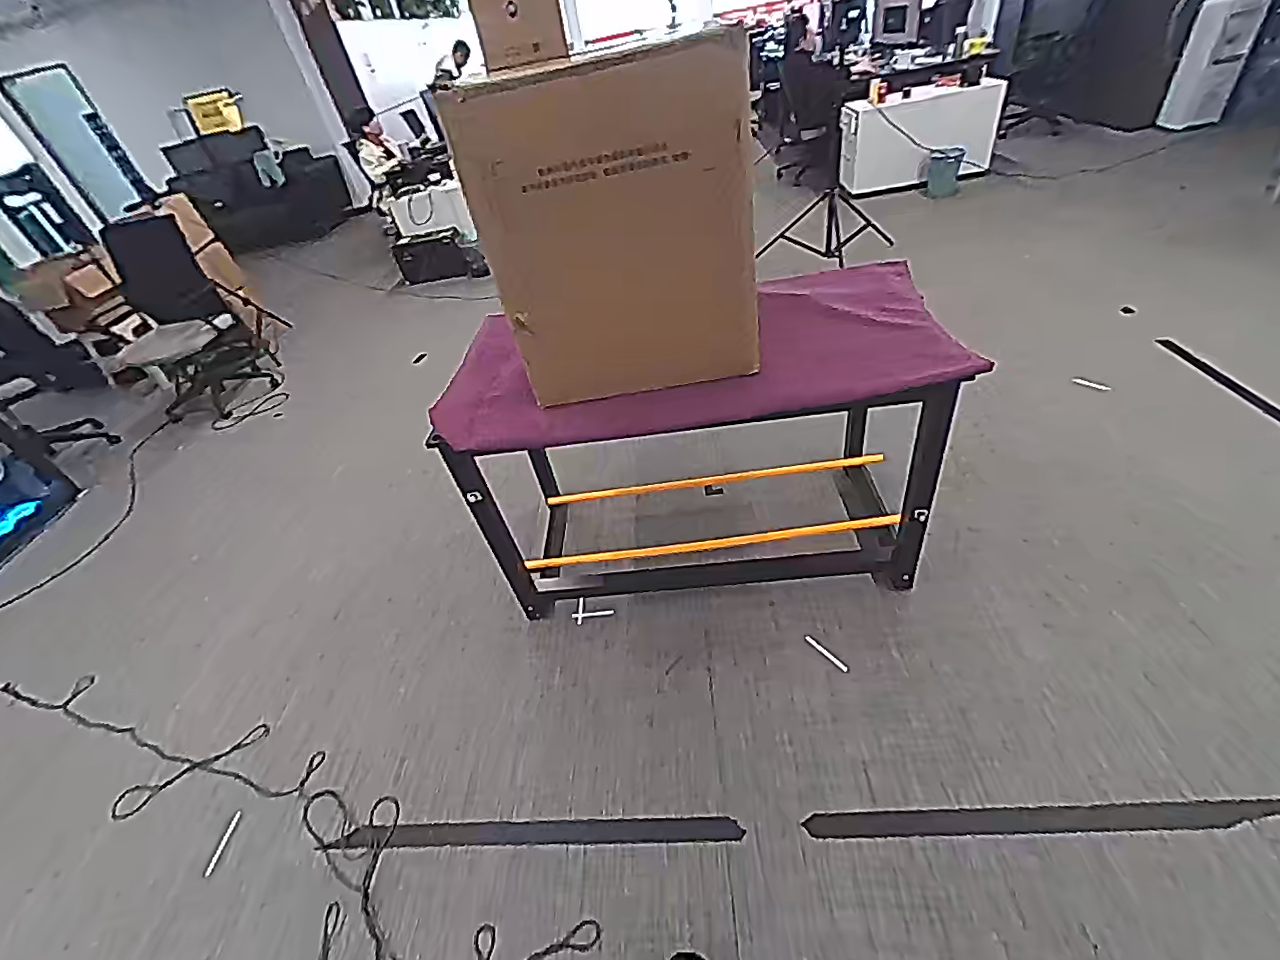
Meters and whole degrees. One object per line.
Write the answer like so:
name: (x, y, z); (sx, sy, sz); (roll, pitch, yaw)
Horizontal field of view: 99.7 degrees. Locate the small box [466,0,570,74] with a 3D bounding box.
small box: (-0.232, -0.890, 1.026); (0.168, 0.176, 0.179); (-11, 40, 0)
